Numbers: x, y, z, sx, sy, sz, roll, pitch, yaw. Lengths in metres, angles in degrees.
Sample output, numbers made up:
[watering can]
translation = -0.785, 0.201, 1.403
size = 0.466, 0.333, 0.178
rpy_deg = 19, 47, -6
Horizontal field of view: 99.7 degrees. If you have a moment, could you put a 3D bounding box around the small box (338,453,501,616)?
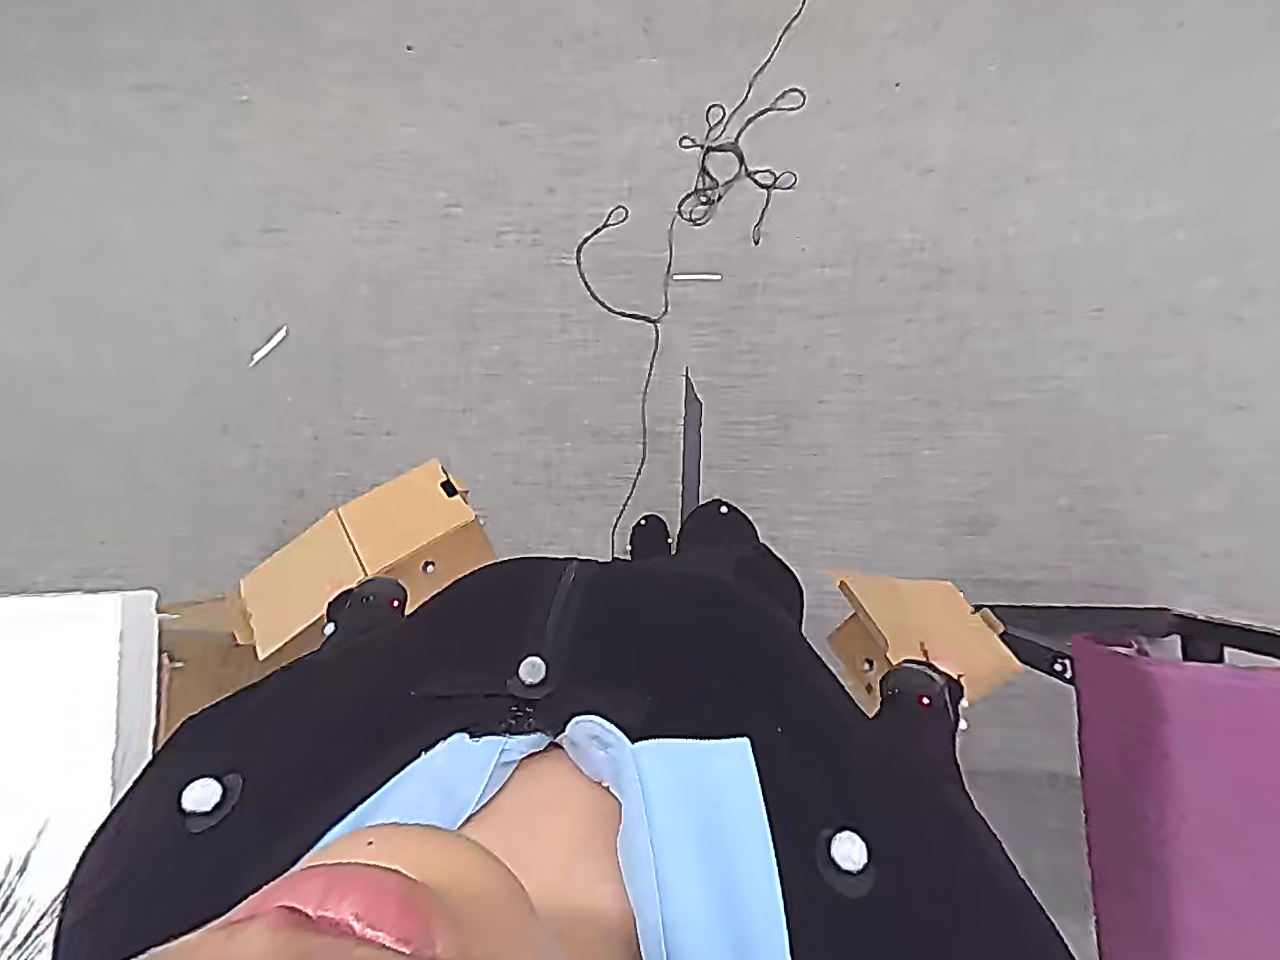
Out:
[small box]
translation = -0.359, 0.094, 0.901
size = 0.179, 0.176, 0.168
rpy_deg = -31, 54, -20
